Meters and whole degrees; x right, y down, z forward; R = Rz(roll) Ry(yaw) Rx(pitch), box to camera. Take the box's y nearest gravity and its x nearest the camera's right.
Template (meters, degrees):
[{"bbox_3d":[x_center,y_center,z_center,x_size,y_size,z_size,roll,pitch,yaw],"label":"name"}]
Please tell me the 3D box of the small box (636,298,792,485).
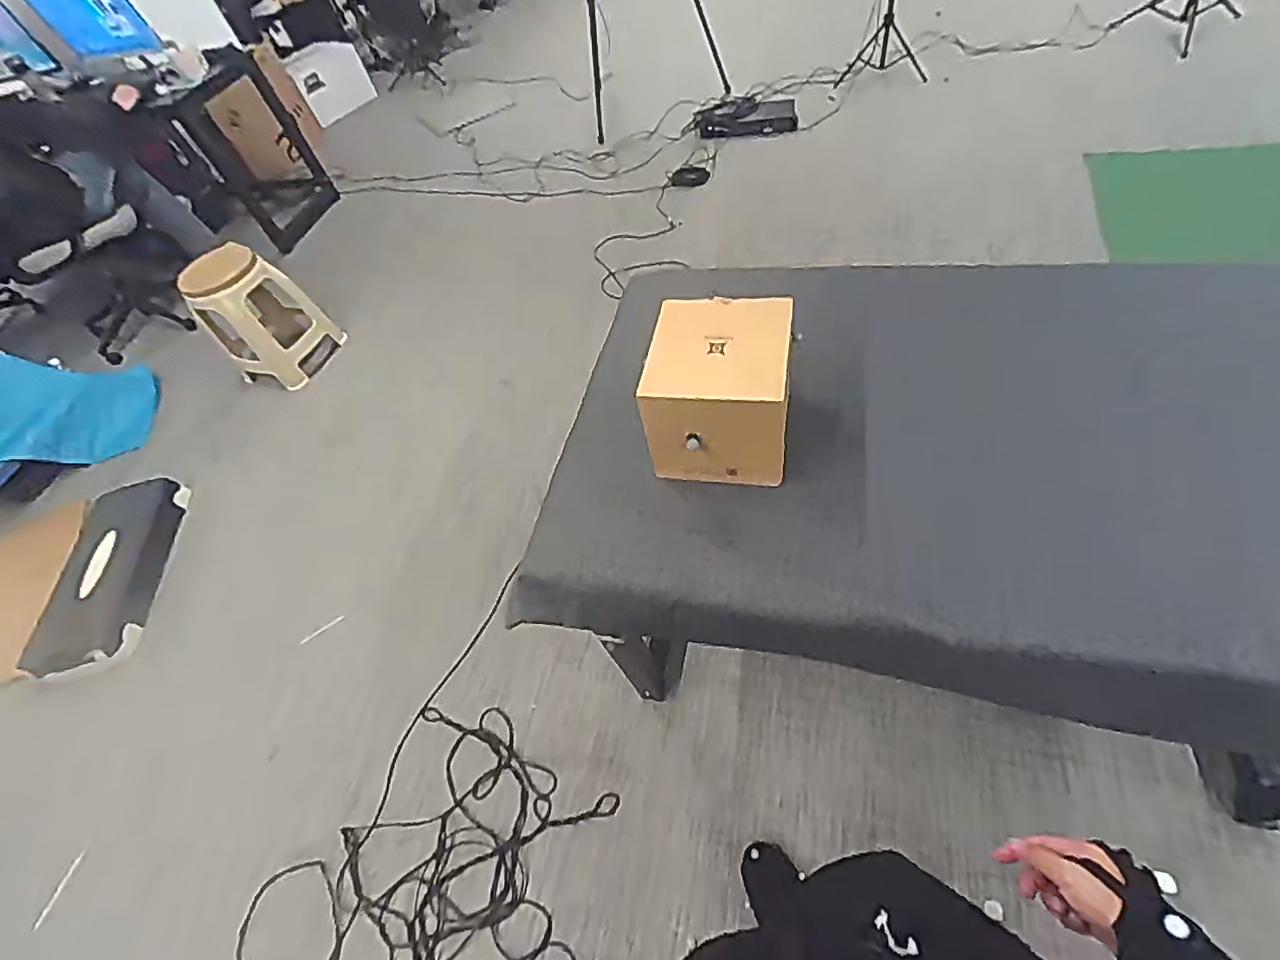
[{"bbox_3d":[0.105,-0.109,0.699,0.168,0.176,0.179,4,55,15],"label":"small box"}]
